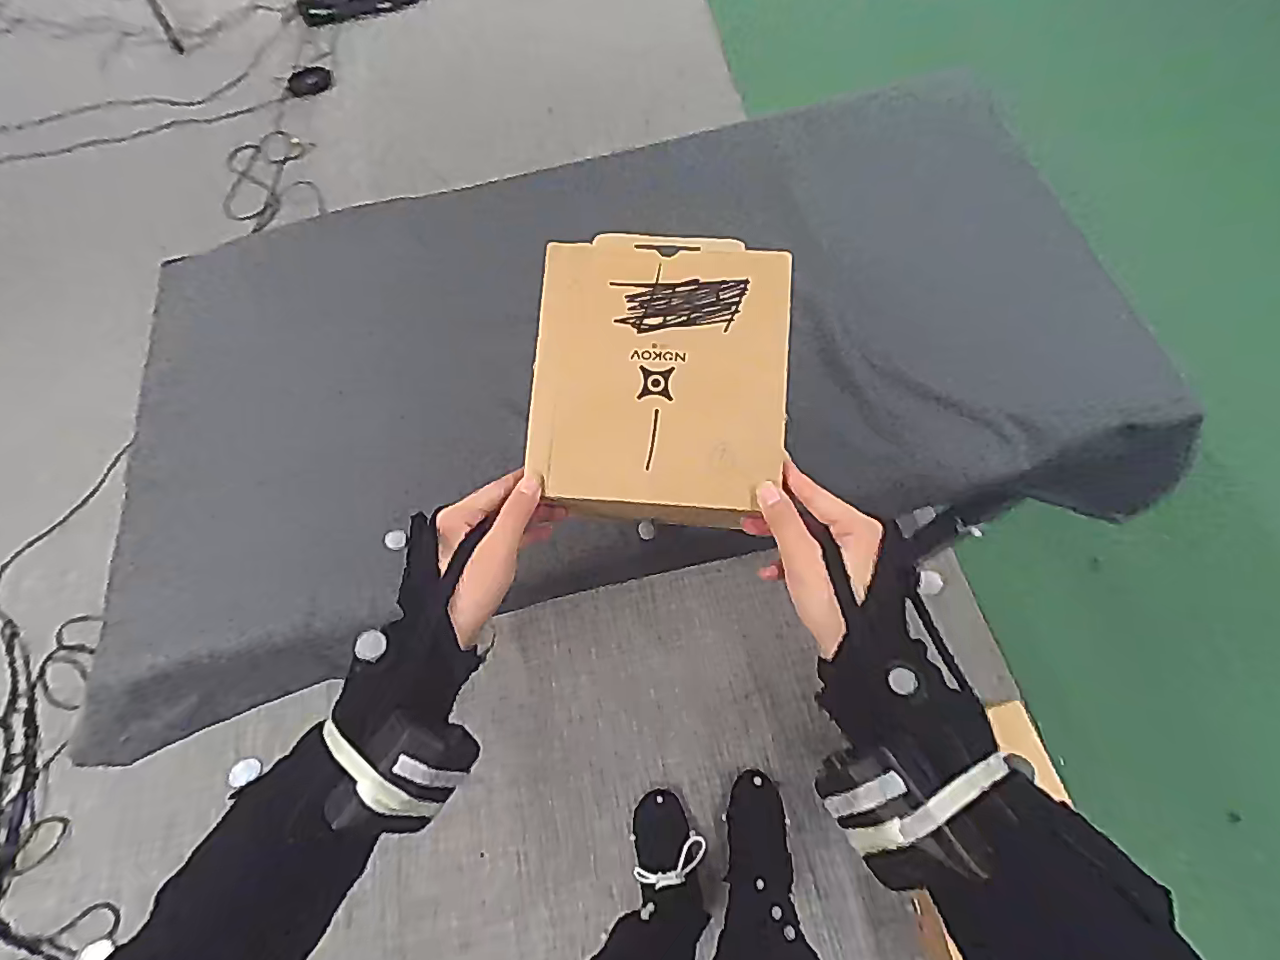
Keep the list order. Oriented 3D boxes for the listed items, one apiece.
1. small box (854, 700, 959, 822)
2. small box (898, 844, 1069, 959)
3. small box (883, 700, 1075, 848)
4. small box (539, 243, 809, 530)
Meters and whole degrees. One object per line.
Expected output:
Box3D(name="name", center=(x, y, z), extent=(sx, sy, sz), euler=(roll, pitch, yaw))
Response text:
Box3D(name="small box", center=(0.529, 0.531, 1.033), extent=(0.179, 0.176, 0.168), euler=(-14, 65, -1))
Box3D(name="small box", center=(0.583, 0.752, 0.935), extent=(0.179, 0.176, 0.168), euler=(-12, 66, 2))
Box3D(name="small box", center=(0.533, 0.464, 0.881), extent=(0.179, 0.176, 0.168), euler=(-16, 67, -1))
Box3D(name="small box", center=(0.029, -0.058, 0.430), extent=(0.168, 0.176, 0.179), euler=(4, 82, 5))
